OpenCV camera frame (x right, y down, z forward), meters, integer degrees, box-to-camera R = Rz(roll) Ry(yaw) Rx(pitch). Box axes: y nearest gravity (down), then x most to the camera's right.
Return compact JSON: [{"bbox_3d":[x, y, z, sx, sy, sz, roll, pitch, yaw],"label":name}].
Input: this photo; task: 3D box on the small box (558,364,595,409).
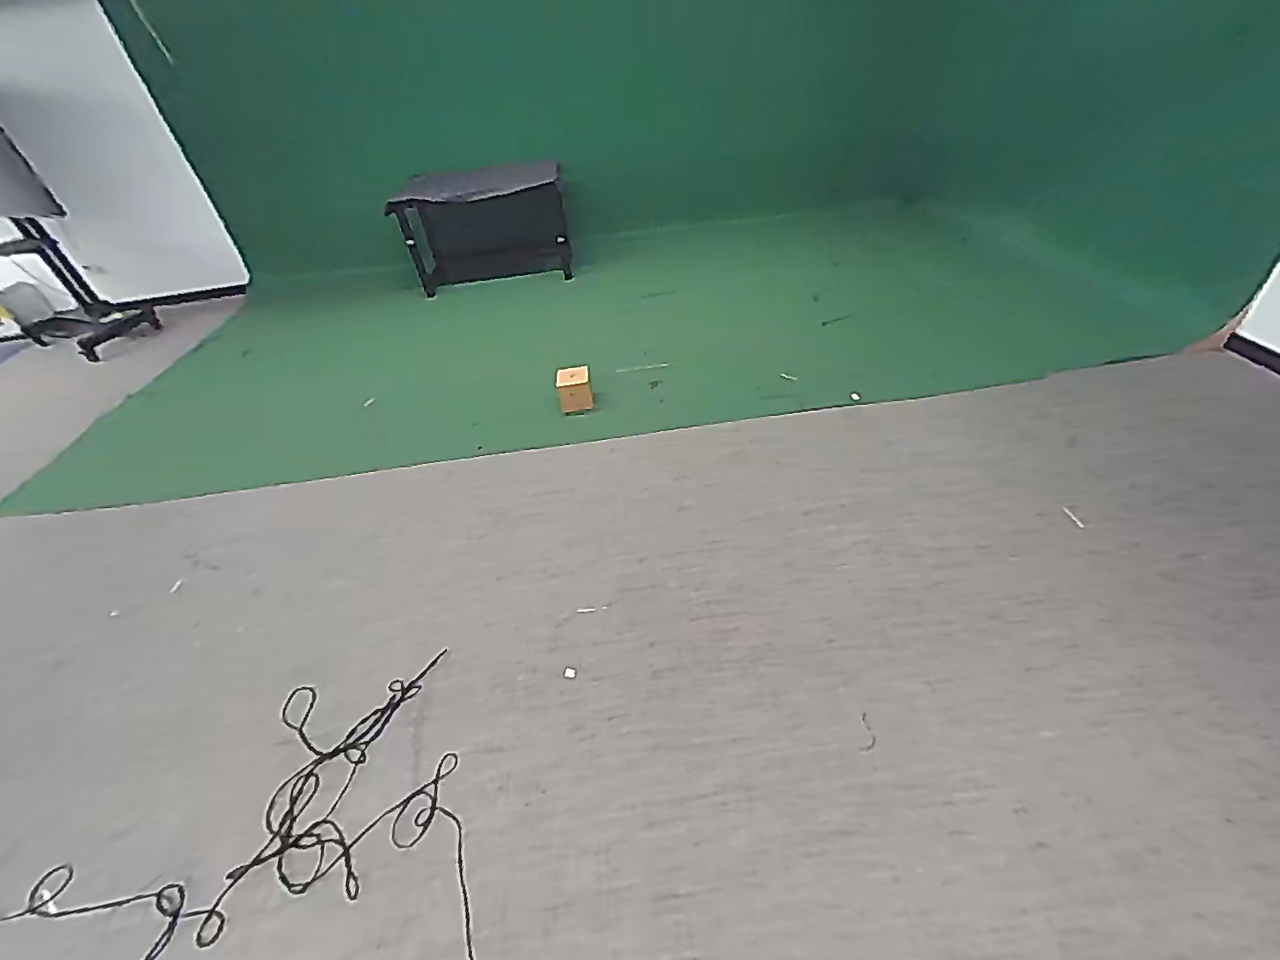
[{"bbox_3d":[-0.334,-0.488,2.857,0.168,0.176,0.179,-9,40,0],"label":"small box"}]
